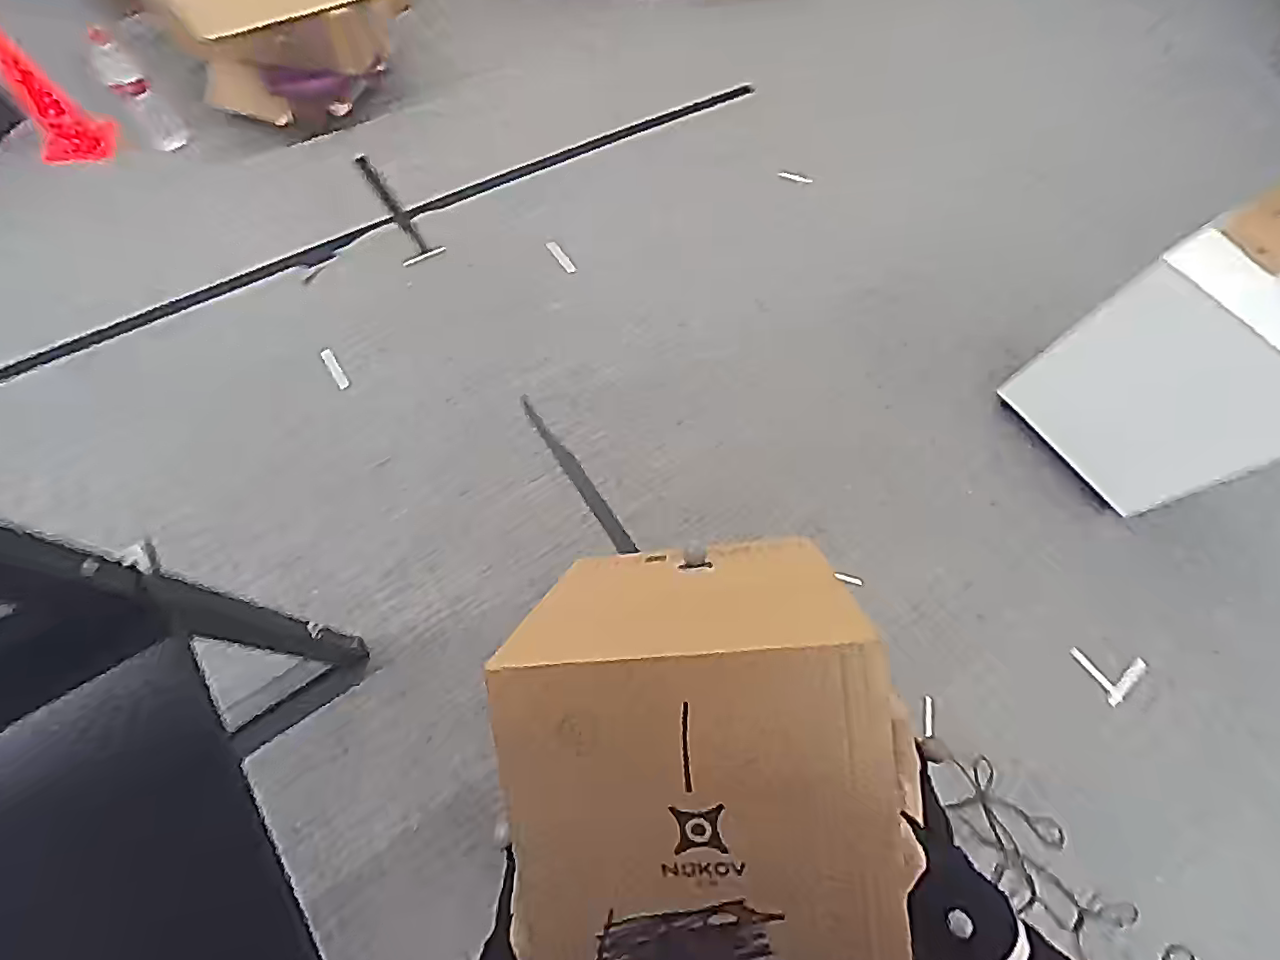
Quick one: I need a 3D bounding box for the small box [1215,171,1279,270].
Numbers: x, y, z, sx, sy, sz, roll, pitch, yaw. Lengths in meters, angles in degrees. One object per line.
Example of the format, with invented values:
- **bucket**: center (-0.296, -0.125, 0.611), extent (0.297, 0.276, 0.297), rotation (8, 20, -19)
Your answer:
- **small box**: center (1.481, -0.607, 1.220), extent (0.179, 0.176, 0.168), rotation (-27, 72, -16)
